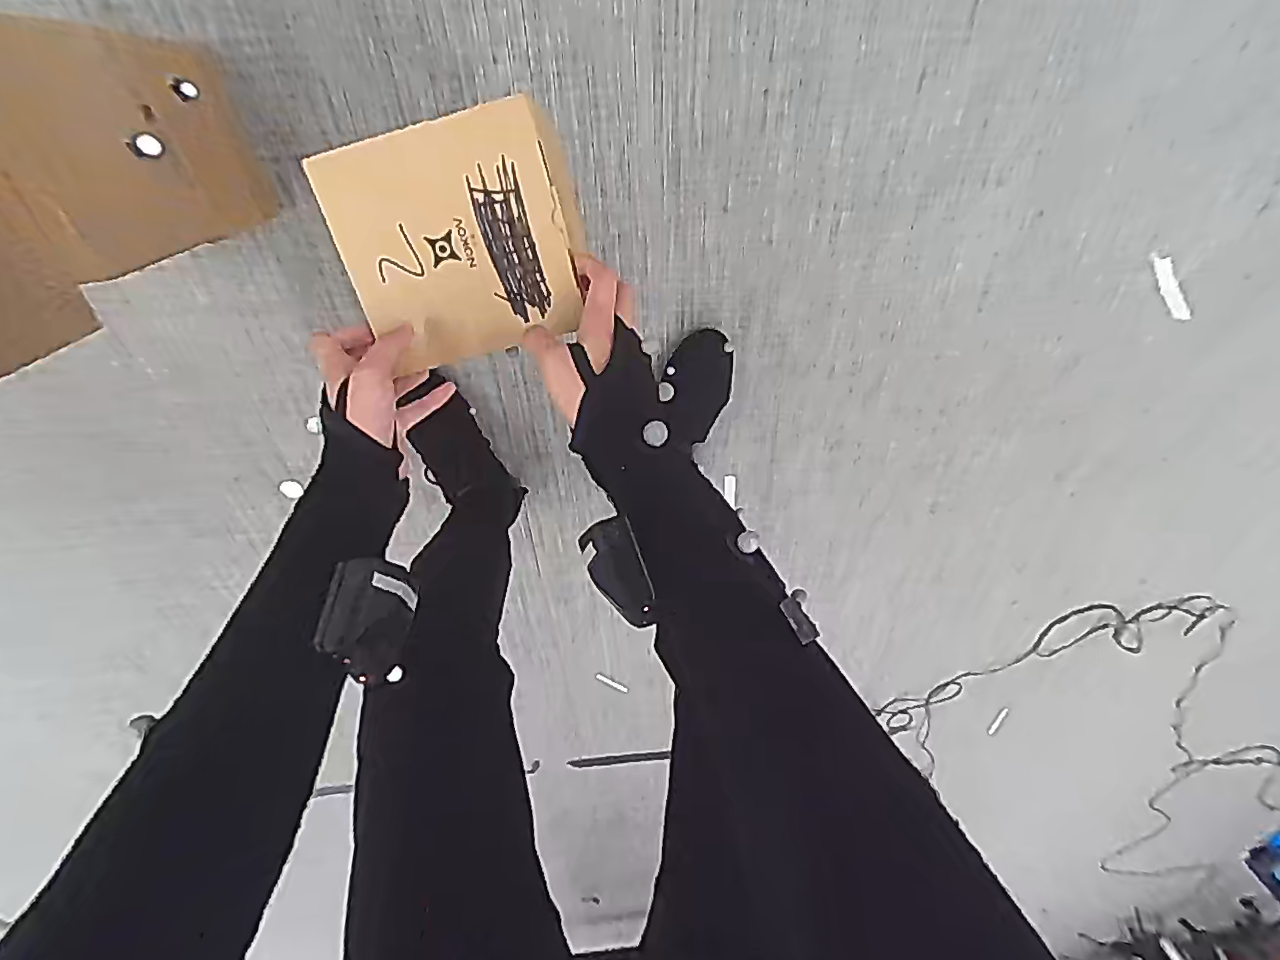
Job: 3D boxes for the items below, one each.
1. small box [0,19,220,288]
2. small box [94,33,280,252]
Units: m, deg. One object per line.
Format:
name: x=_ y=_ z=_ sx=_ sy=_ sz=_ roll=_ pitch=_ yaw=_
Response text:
small box: x=-0.508 y=-0.253 z=0.439 sx=0.179 sy=0.176 sz=0.168 roll=-8 pitch=126 yaw=1
small box: x=-0.534 y=-0.346 z=0.572 sx=0.168 sy=0.176 sz=0.179 roll=-7 pitch=127 yaw=0
